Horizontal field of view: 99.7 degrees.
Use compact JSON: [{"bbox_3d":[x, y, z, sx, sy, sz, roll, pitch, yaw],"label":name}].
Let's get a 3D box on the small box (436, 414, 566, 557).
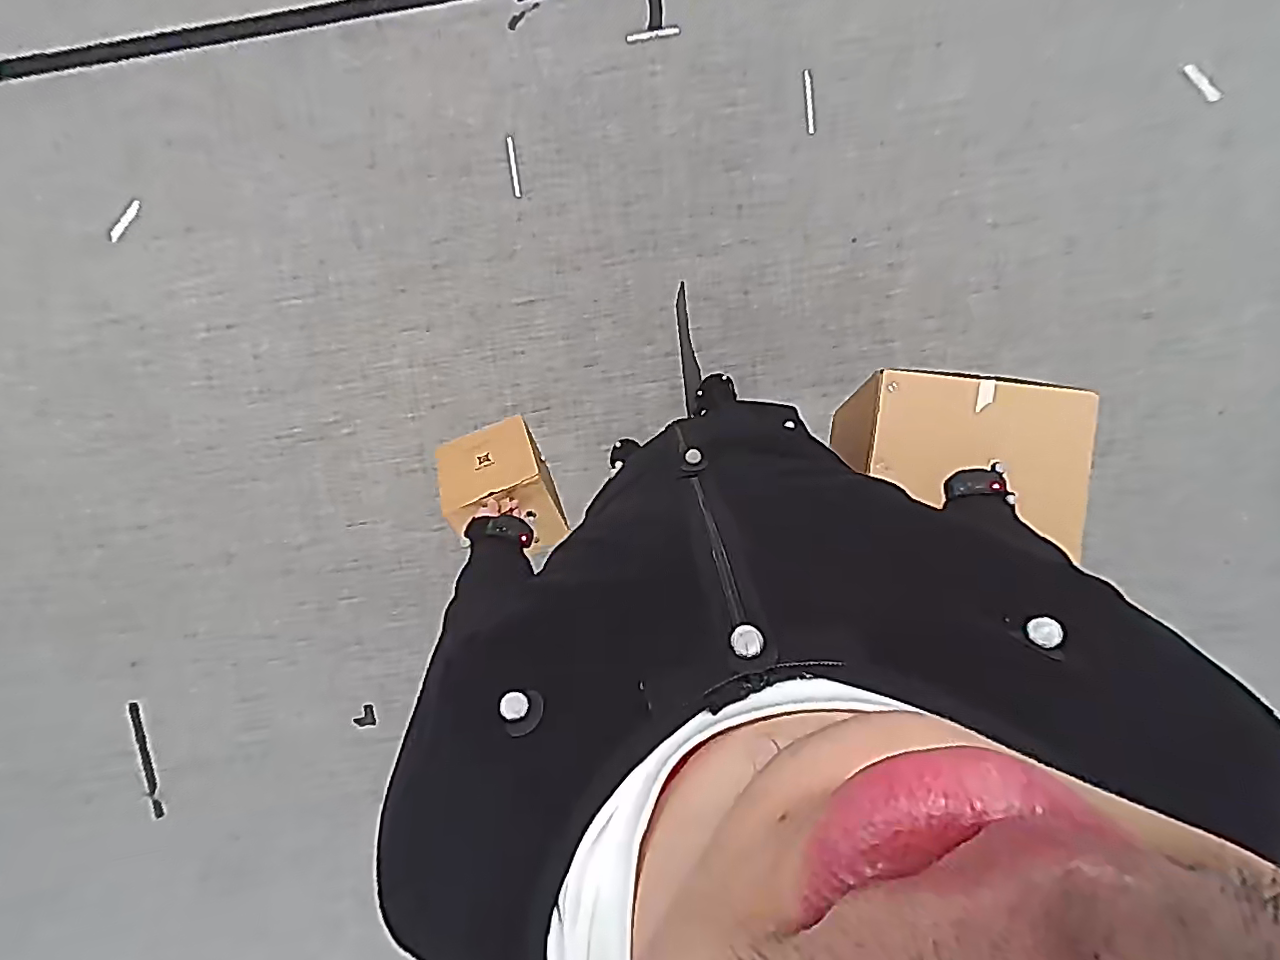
[{"bbox_3d":[-0.247,0.017,0.979,0.168,0.179,0.176,-22,137,-6],"label":"small box"}]
